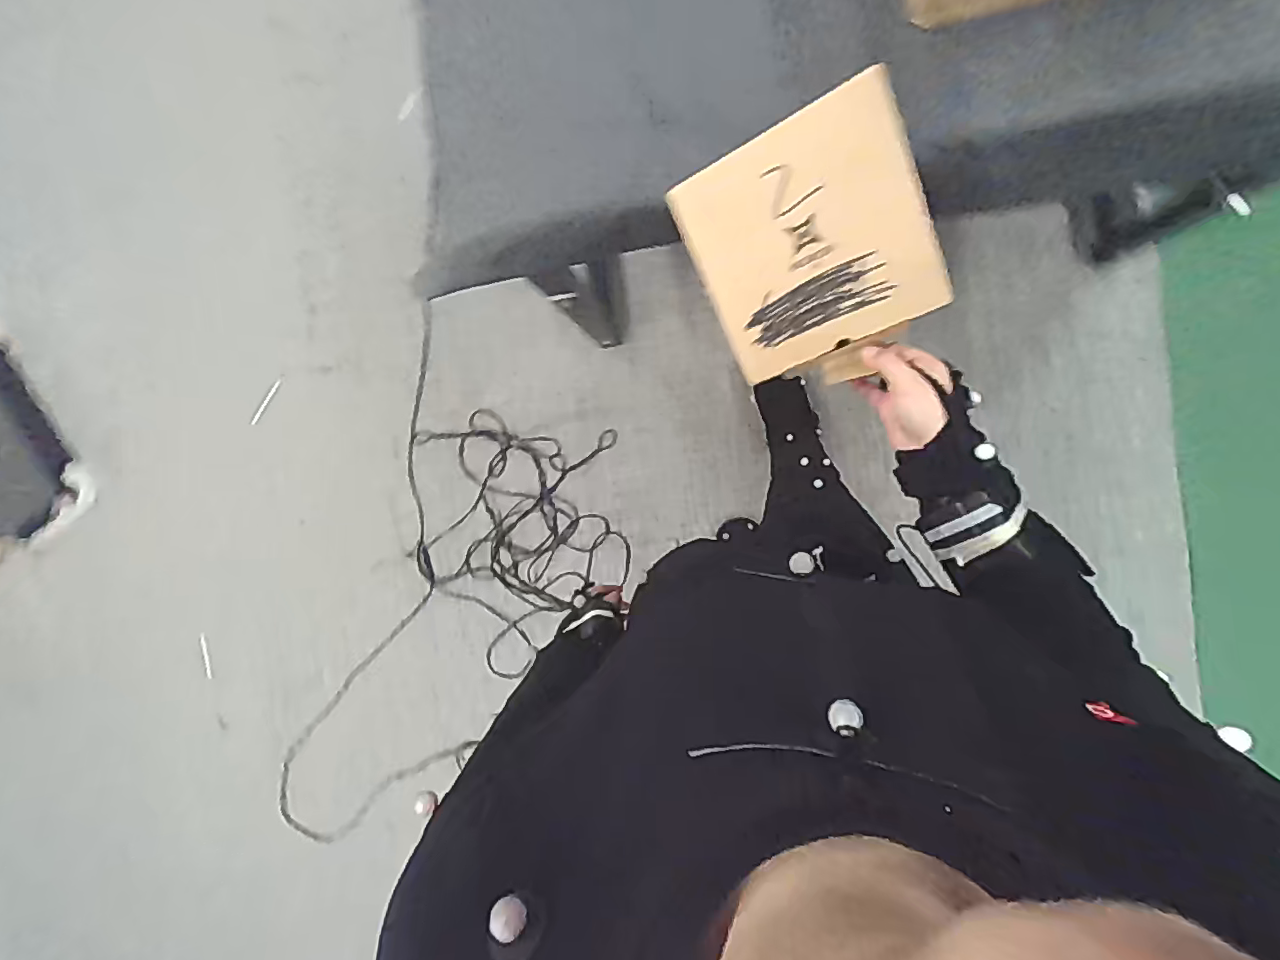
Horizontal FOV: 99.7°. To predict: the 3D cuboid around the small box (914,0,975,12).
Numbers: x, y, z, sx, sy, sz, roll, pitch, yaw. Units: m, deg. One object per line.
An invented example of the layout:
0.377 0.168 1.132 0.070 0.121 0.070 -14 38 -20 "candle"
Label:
0.330 -0.568 0.462 0.168 0.176 0.179 -9 91 8 "small box"
